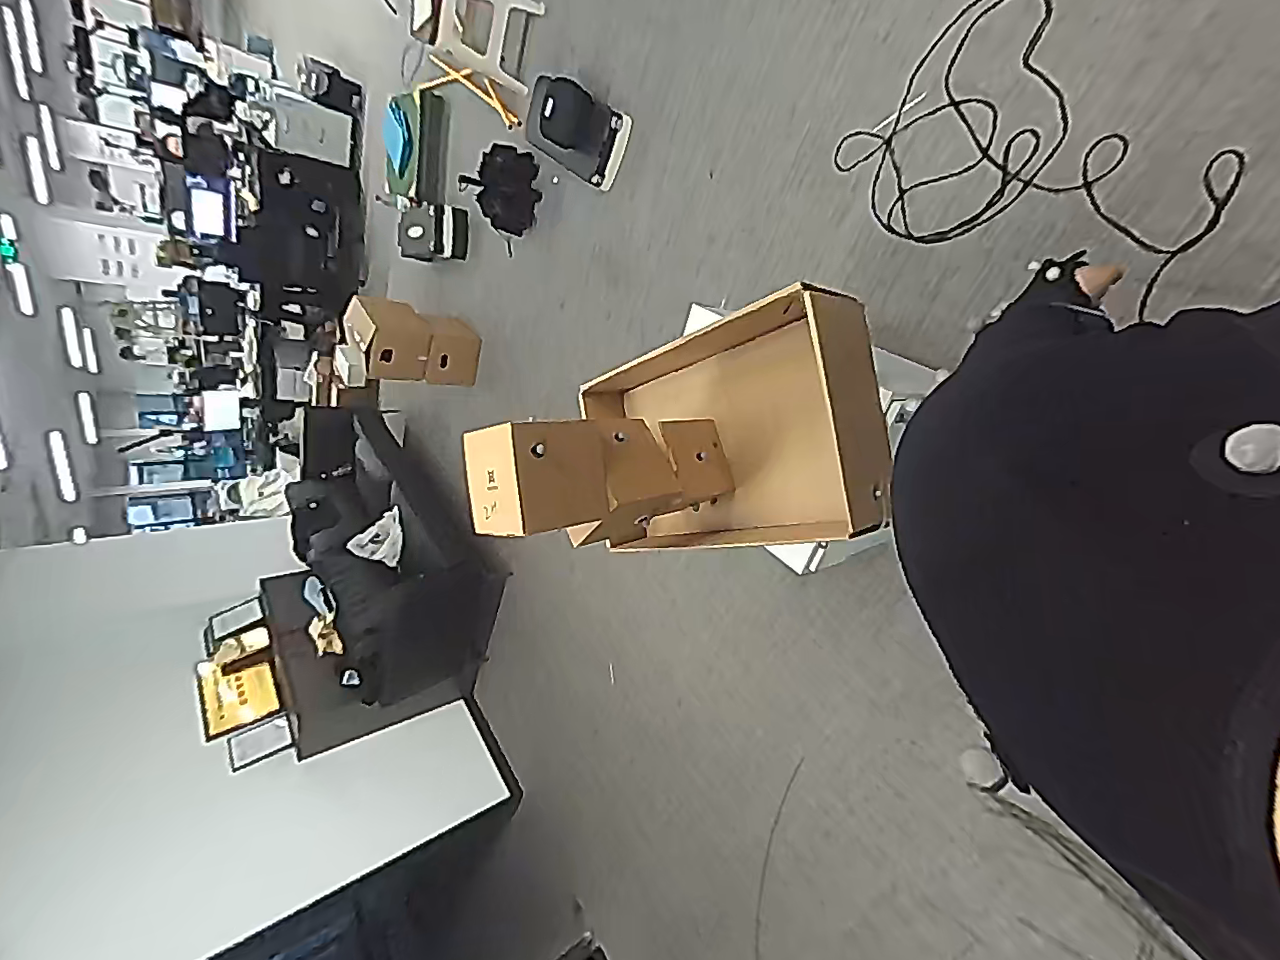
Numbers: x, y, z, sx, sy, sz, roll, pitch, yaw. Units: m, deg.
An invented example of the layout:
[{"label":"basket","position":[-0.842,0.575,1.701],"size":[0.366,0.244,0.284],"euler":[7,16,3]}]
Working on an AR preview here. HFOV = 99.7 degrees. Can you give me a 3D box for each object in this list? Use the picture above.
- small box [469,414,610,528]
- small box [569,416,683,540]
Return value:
[{"label":"small box","position":[-0.171,-0.019,0.931],"size":[0.168,0.176,0.179],"euler":[-3,95,48]},{"label":"small box","position":[-0.051,-0.009,1.048],"size":[0.168,0.176,0.179],"euler":[-46,65,42]}]
